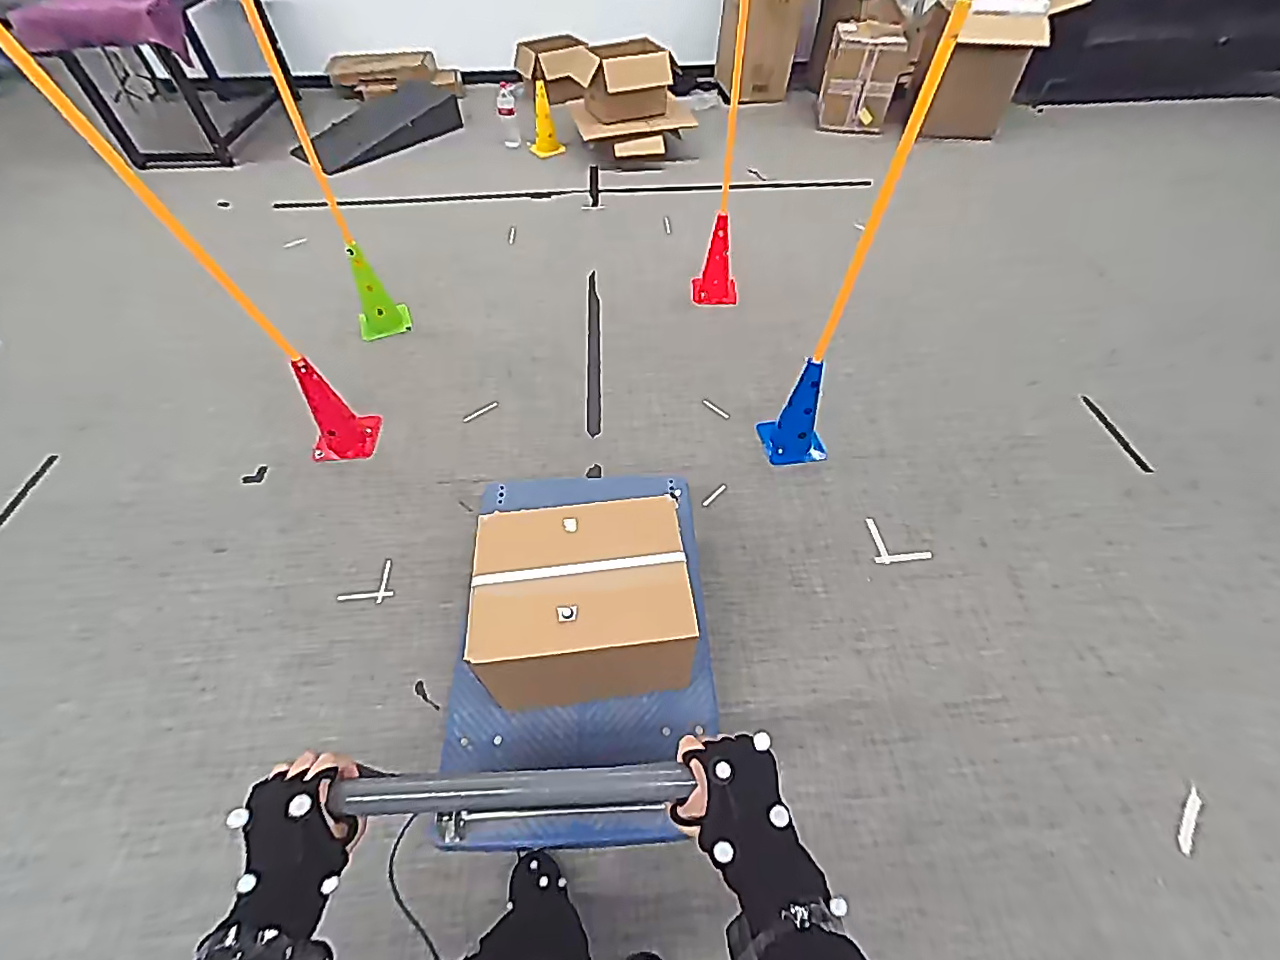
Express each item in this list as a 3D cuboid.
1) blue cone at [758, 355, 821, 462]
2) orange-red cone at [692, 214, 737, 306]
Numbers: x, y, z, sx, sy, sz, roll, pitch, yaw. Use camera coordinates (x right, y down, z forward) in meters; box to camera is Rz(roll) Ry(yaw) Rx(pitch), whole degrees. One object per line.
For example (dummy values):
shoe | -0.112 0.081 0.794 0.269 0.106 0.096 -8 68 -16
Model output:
blue cone | 0.523 -0.241 1.763 0.193 0.380 0.192 -6 51 -5
orange-red cone | 0.336 -0.950 2.303 0.199 0.360 0.198 3 53 1
